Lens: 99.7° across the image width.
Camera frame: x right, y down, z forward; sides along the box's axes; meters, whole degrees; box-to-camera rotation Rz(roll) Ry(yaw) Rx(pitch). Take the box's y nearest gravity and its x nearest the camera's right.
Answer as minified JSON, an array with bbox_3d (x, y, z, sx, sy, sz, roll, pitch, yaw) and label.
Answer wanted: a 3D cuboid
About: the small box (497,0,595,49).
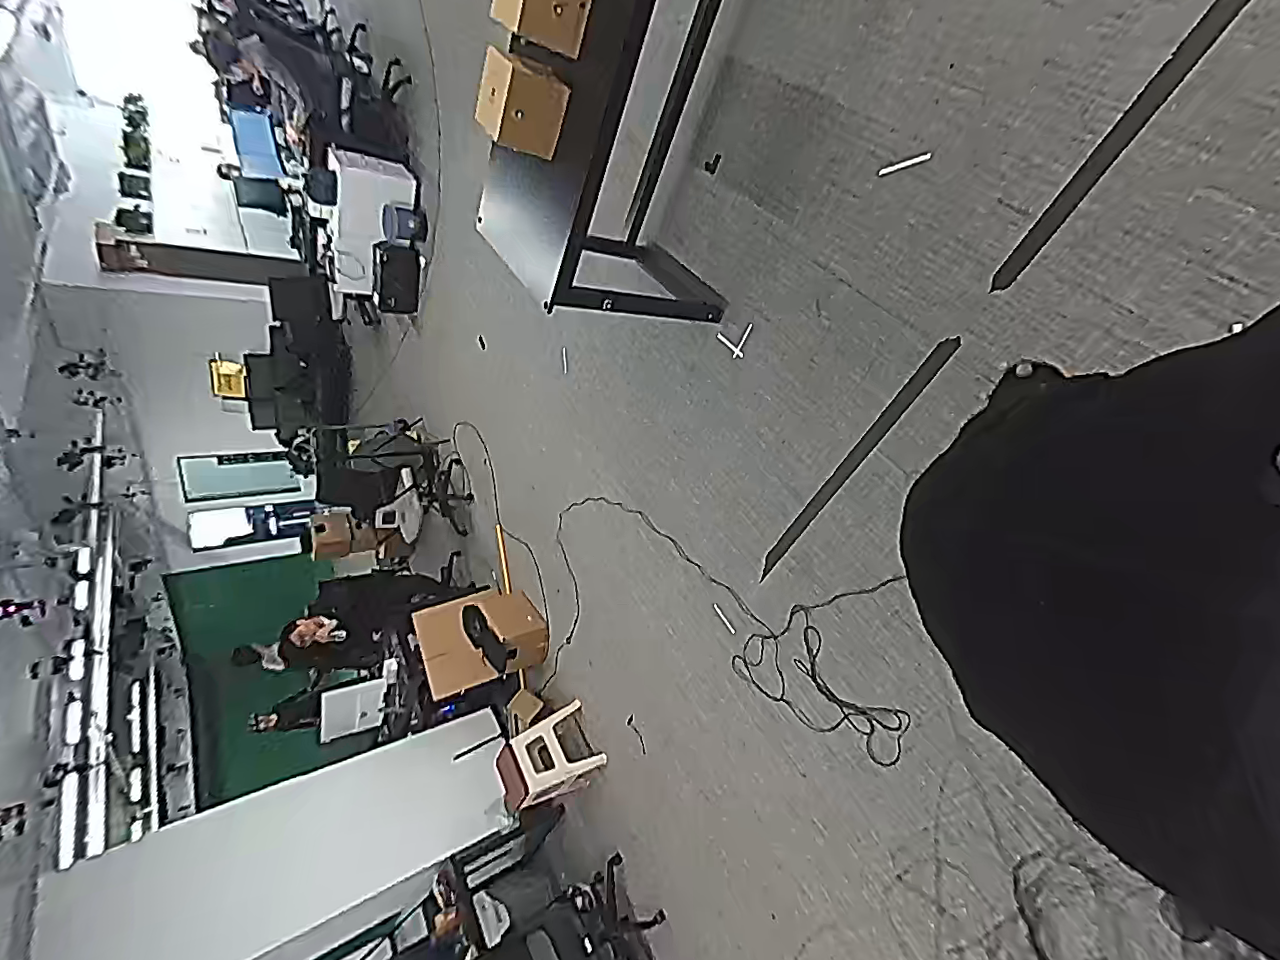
[{"bbox_3d":[-0.217,-1.172,1.292,0.179,0.176,0.168,55,134,31],"label":"small box"}]
